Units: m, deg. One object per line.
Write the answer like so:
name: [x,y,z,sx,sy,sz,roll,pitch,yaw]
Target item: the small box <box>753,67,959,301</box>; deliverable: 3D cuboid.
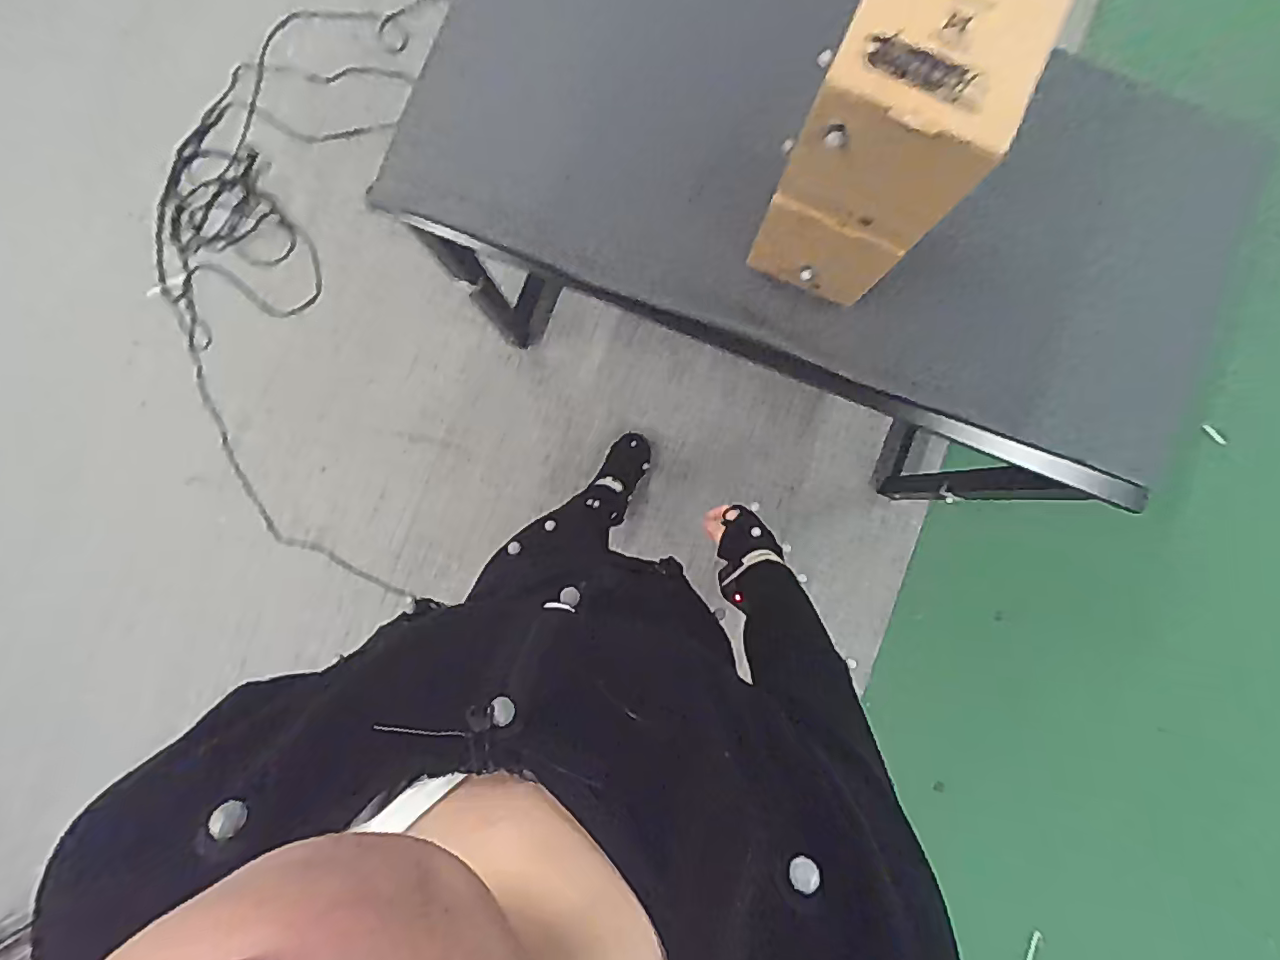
small box: [0.263,-0.367,0.703,0.168,0.176,0.179,23,87,1]
